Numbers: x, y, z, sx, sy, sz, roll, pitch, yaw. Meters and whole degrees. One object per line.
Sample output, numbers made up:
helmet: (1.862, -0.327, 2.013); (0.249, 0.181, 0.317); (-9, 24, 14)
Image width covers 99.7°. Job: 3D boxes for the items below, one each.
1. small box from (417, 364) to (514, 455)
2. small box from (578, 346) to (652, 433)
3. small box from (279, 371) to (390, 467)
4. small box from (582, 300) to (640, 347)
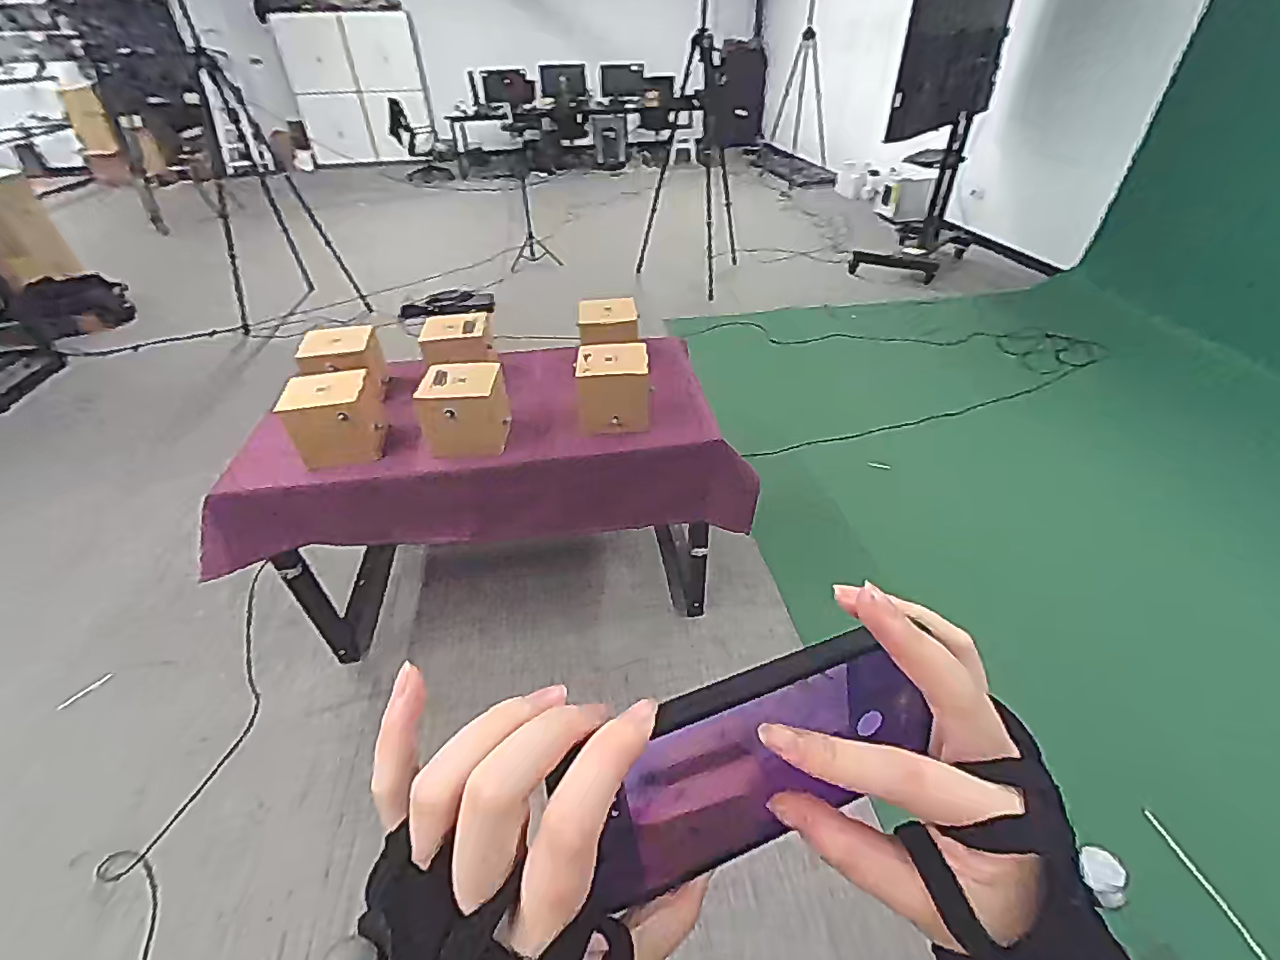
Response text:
small box: (-0.422, -0.172, 1.336); (0.179, 0.176, 0.168); (-2, 39, -1)
small box: (-0.060, -0.233, 1.395); (0.179, 0.176, 0.168); (-1, 39, 0)
small box: (-0.734, -0.147, 1.319); (0.179, 0.176, 0.168); (-9, 39, -11)
small box: (-0.087, -0.431, 1.637); (0.168, 0.176, 0.179); (-4, 40, -2)
